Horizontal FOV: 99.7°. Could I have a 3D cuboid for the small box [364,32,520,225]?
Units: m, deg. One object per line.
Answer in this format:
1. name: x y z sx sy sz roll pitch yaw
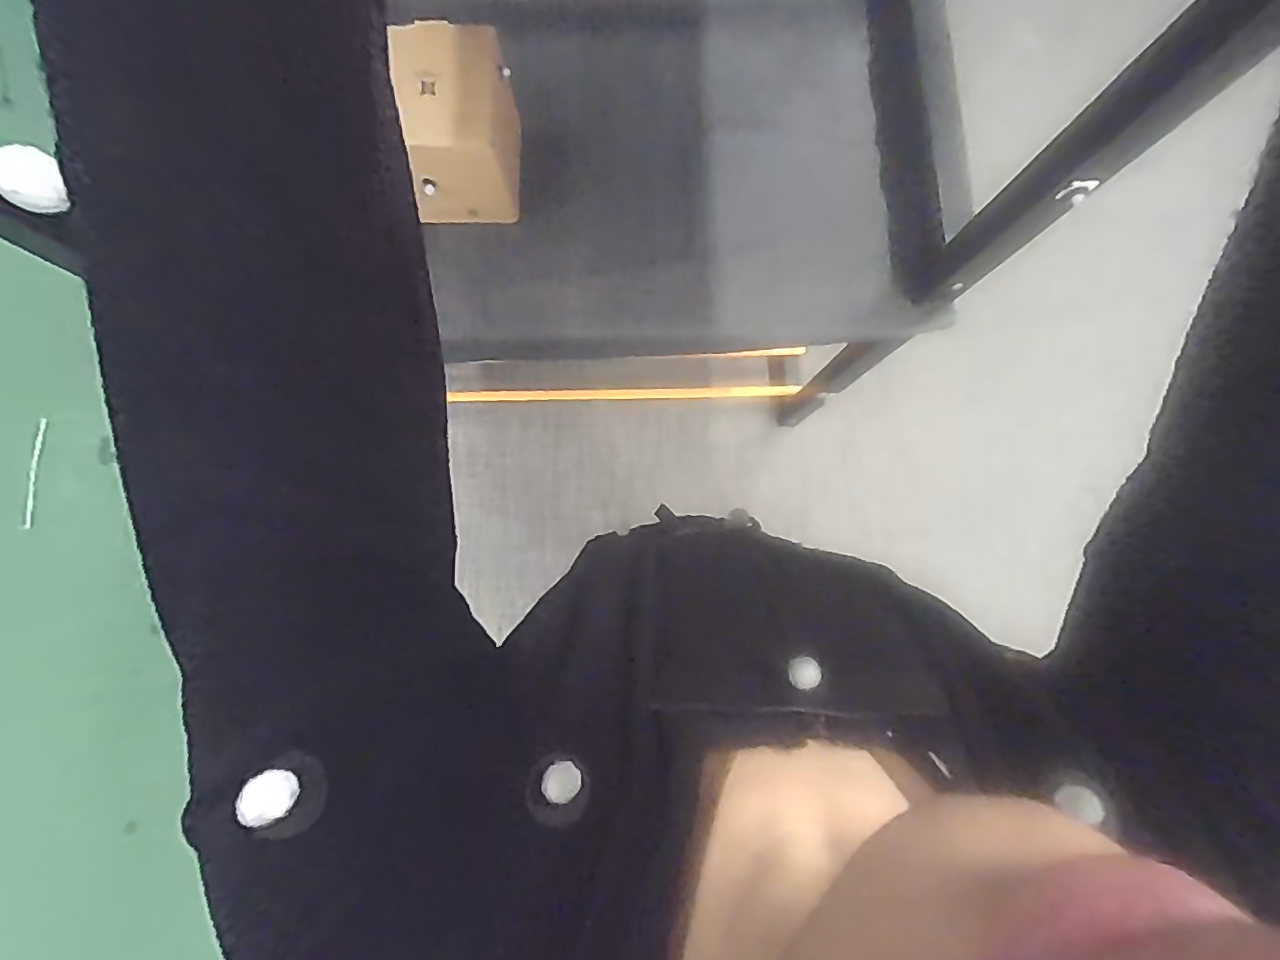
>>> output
1. small box: -0.271 -0.490 0.777 0.168 0.176 0.179 -1 82 -1
